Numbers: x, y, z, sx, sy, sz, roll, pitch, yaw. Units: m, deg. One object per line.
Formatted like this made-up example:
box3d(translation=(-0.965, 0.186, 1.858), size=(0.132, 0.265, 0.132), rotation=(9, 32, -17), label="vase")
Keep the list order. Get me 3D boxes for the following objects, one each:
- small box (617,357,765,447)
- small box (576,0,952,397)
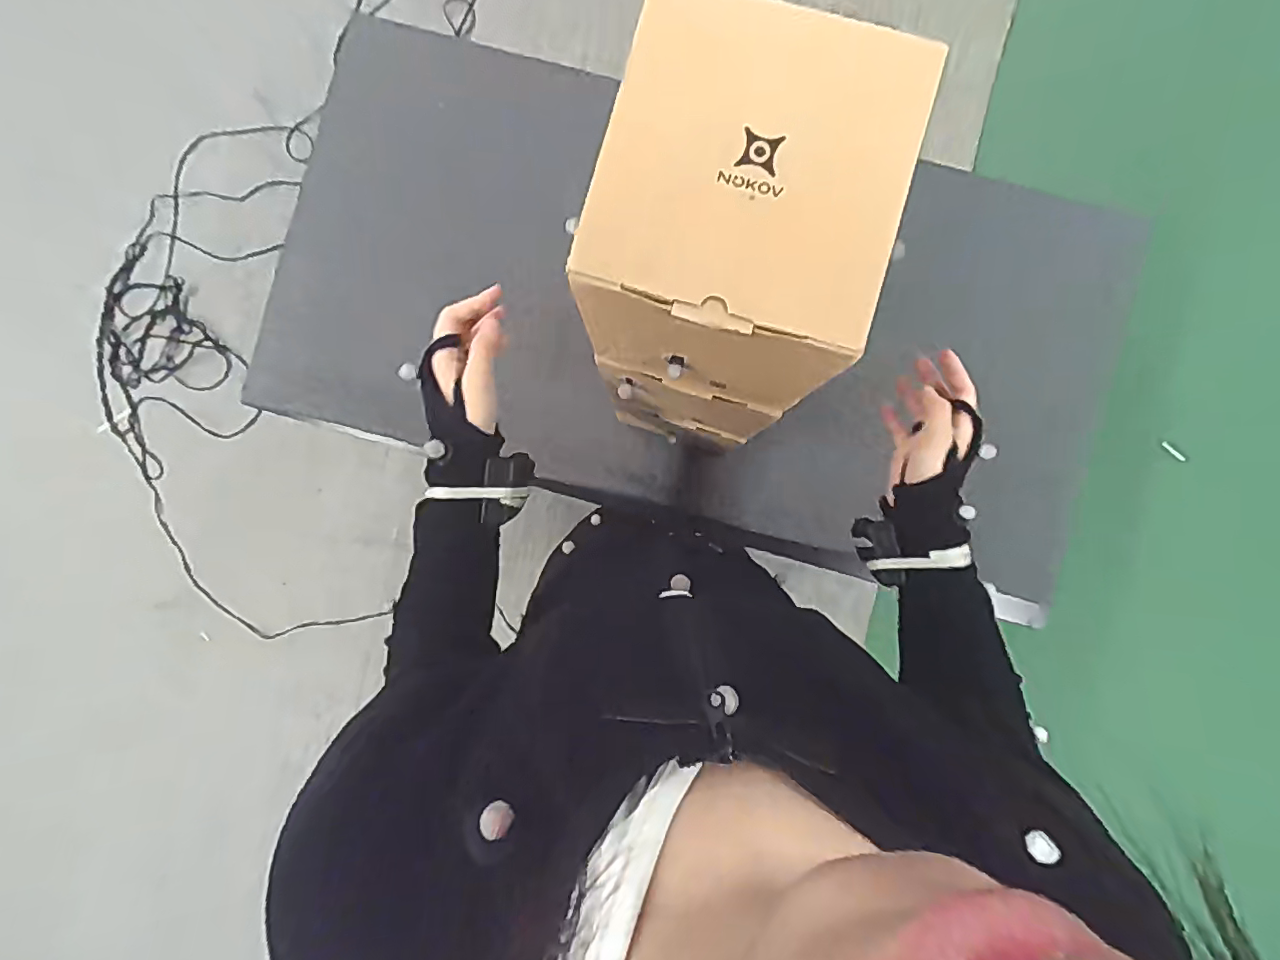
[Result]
box3d(translation=(0.076, -0.151, 0.690), size=(0.168, 0.176, 0.179), rotation=(17, 89, 3), label="small box")
box3d(translation=(0.067, -0.172, 0.364), size=(0.168, 0.176, 0.179), rotation=(15, 89, 2), label="small box")
